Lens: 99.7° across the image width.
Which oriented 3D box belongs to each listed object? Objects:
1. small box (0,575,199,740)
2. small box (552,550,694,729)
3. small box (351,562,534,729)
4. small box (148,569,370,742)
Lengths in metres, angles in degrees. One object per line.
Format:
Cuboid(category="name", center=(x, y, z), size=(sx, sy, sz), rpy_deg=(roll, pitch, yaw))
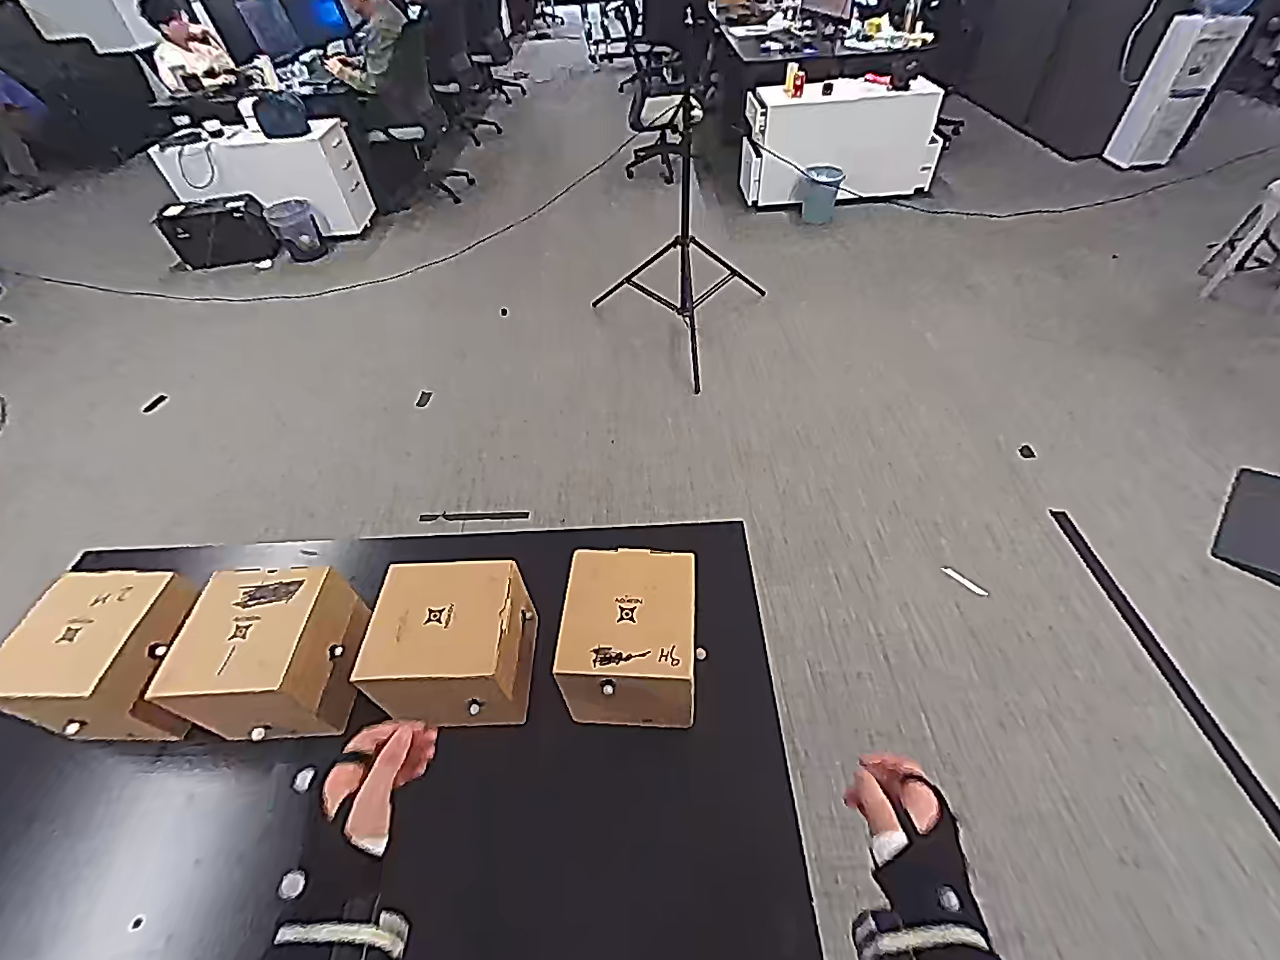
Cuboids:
Cuboid(category="small box", center=(-0.725, 0.252, 0.761), size=(0.168, 0.176, 0.179), rpy_deg=(0, 47, 3))
Cuboid(category="small box", center=(-0.012, 0.216, 0.739), size=(0.168, 0.176, 0.179), rpy_deg=(0, 47, 6))
Cuboid(category="small box", center=(-0.253, 0.231, 0.748), size=(0.179, 0.176, 0.168), rpy_deg=(-3, 46, 2))
Cuboid(category="small box", center=(-0.501, 0.244, 0.751), size=(0.168, 0.176, 0.179), rpy_deg=(-3, 49, 0))
